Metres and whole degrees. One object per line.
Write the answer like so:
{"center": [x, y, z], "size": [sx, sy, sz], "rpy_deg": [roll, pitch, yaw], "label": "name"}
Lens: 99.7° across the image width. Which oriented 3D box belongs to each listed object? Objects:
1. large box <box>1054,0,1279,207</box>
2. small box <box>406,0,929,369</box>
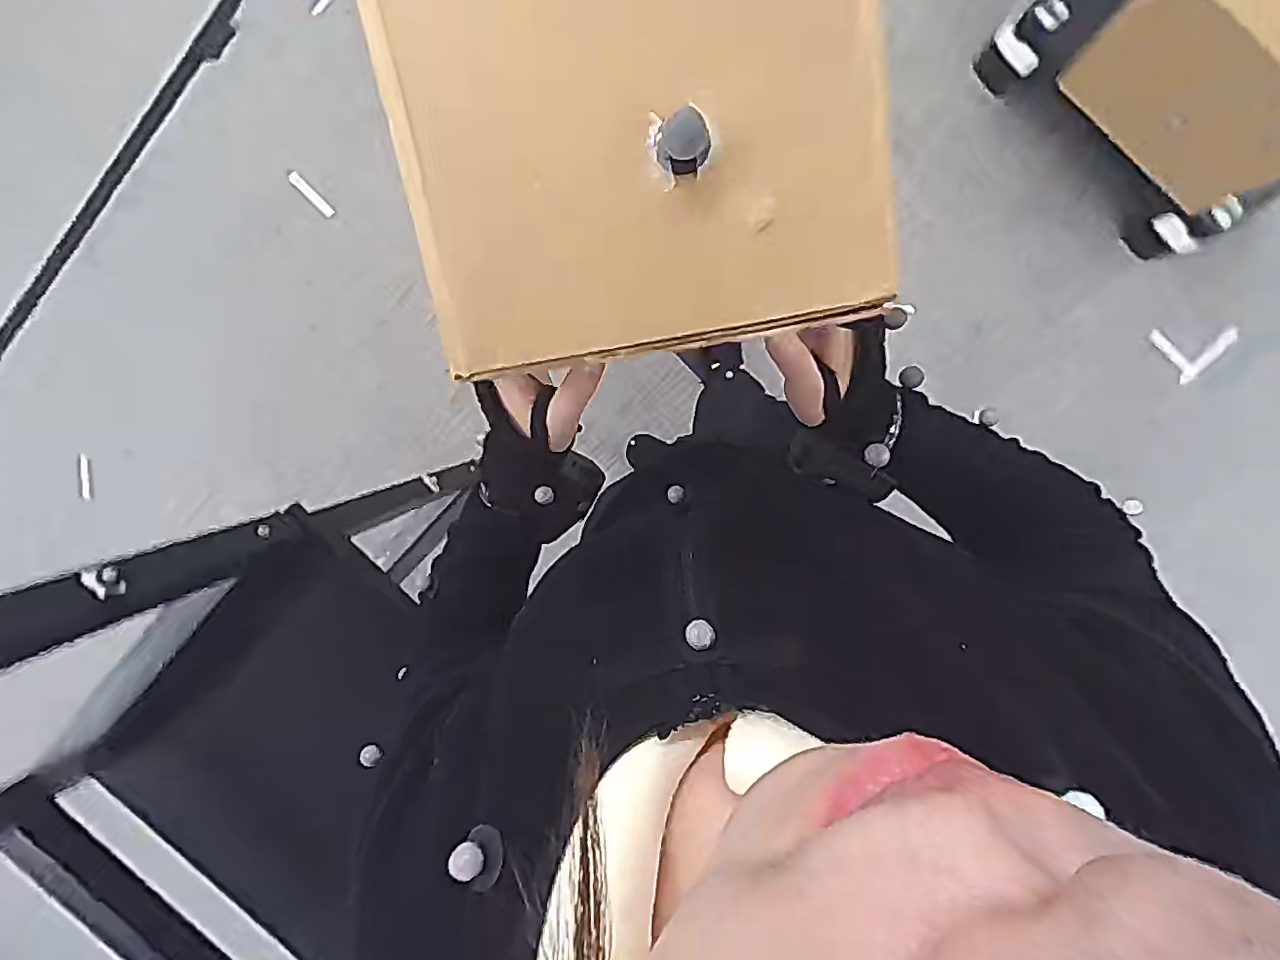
{"center": [1.098, -0.791, 0.971], "size": [0.408, 0.320, 0.320], "rpy_deg": [41, 98, -1], "label": "large box"}
{"center": [0.009, -0.155, 0.261], "size": [0.179, 0.168, 0.176], "rpy_deg": [-9, 102, 4], "label": "small box"}
